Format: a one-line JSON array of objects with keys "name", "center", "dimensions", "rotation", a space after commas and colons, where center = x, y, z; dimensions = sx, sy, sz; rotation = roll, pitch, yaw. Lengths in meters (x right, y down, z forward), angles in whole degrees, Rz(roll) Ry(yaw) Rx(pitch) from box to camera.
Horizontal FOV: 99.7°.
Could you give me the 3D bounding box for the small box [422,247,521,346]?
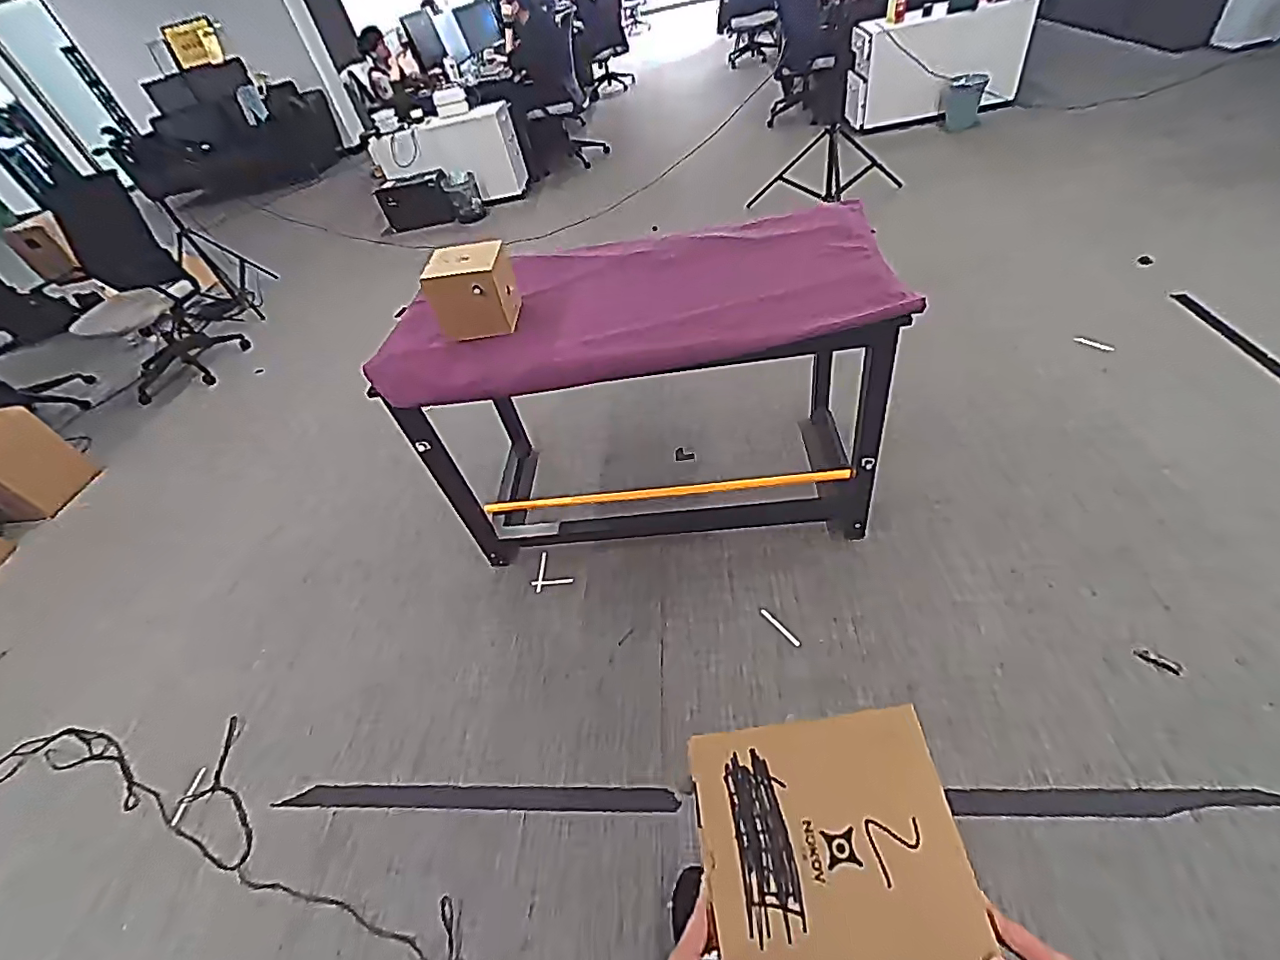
[{"name": "small box", "center": [-0.407, -0.455, 1.347], "dimensions": [0.179, 0.176, 0.168], "rotation": [-6, 45, 5]}]
